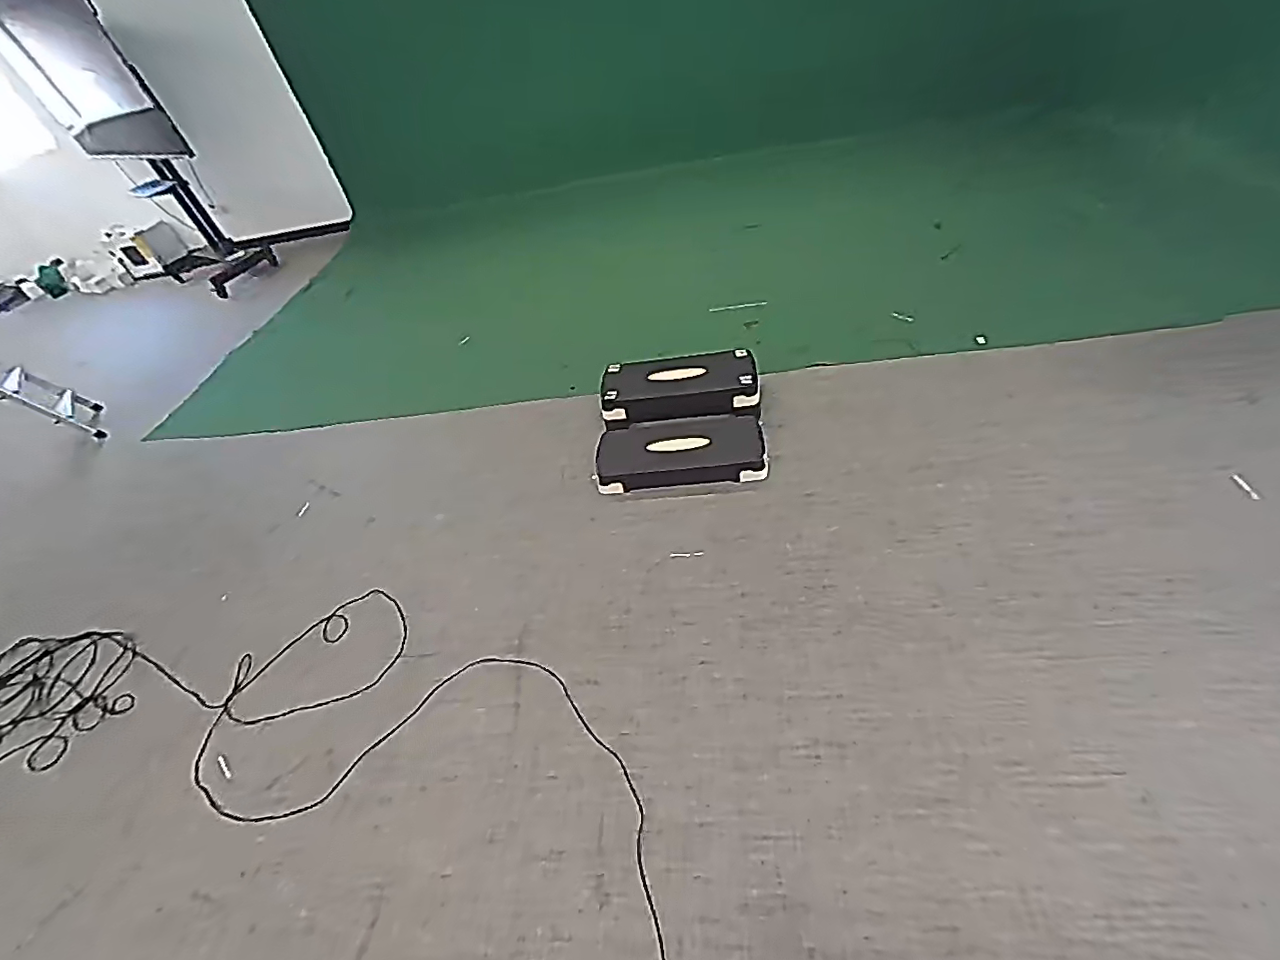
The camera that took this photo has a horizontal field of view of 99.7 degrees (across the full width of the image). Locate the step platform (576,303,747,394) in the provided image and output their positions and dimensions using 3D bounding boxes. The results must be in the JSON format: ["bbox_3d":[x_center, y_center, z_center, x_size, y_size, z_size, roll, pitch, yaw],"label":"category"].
[{"bbox_3d":[0.093,-0.541,2.238,0.684,0.204,0.286,-6,46,9],"label":"step platform"}]
